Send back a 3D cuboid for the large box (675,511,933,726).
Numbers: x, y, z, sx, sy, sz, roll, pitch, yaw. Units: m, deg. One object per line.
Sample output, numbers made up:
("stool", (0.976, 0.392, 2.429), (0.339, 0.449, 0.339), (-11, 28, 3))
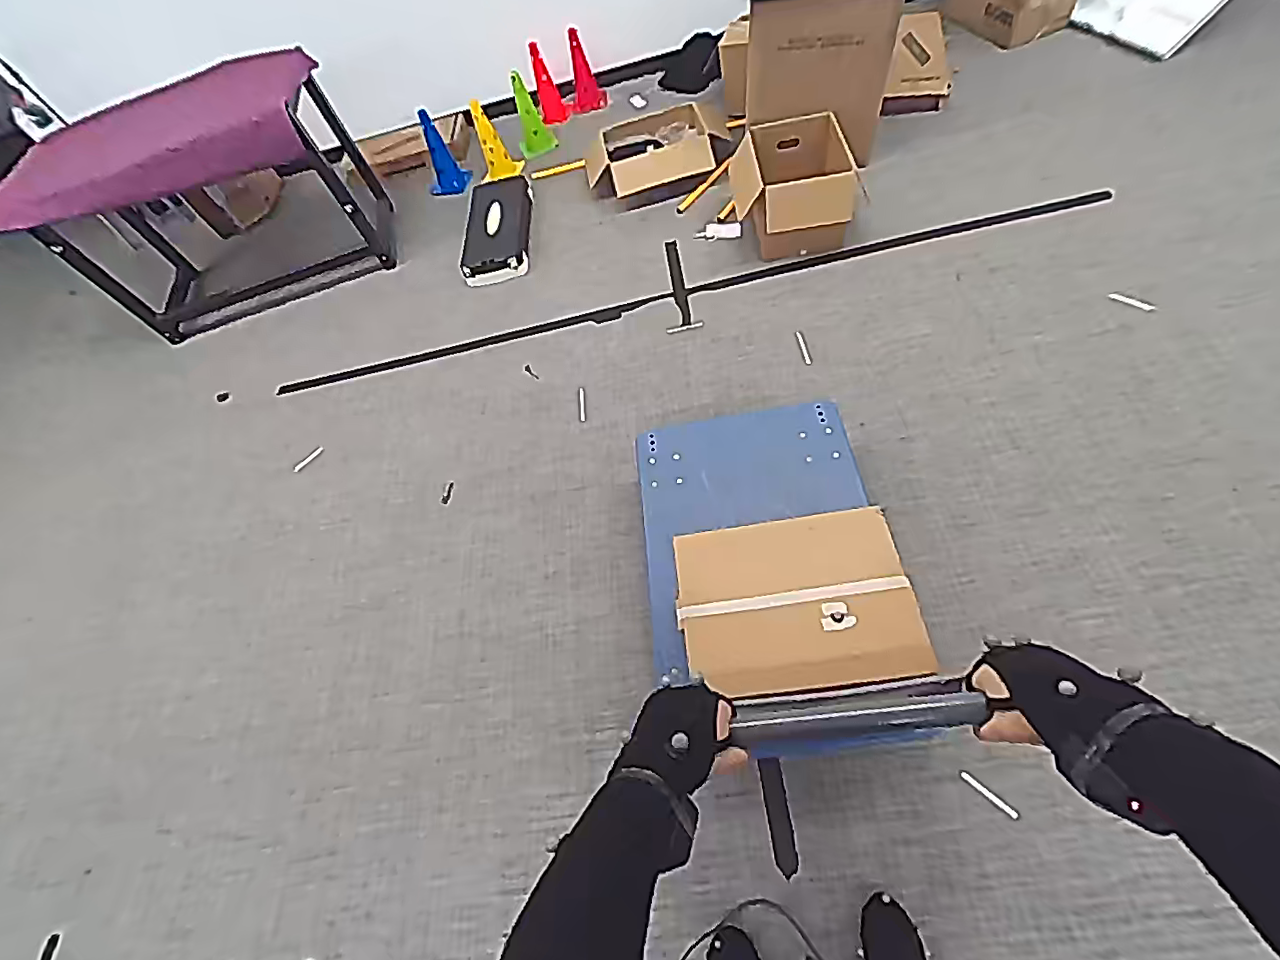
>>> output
("large box", (0.302, 0.298, 1.113), (0.408, 0.320, 0.320), (-10, 59, 6))
